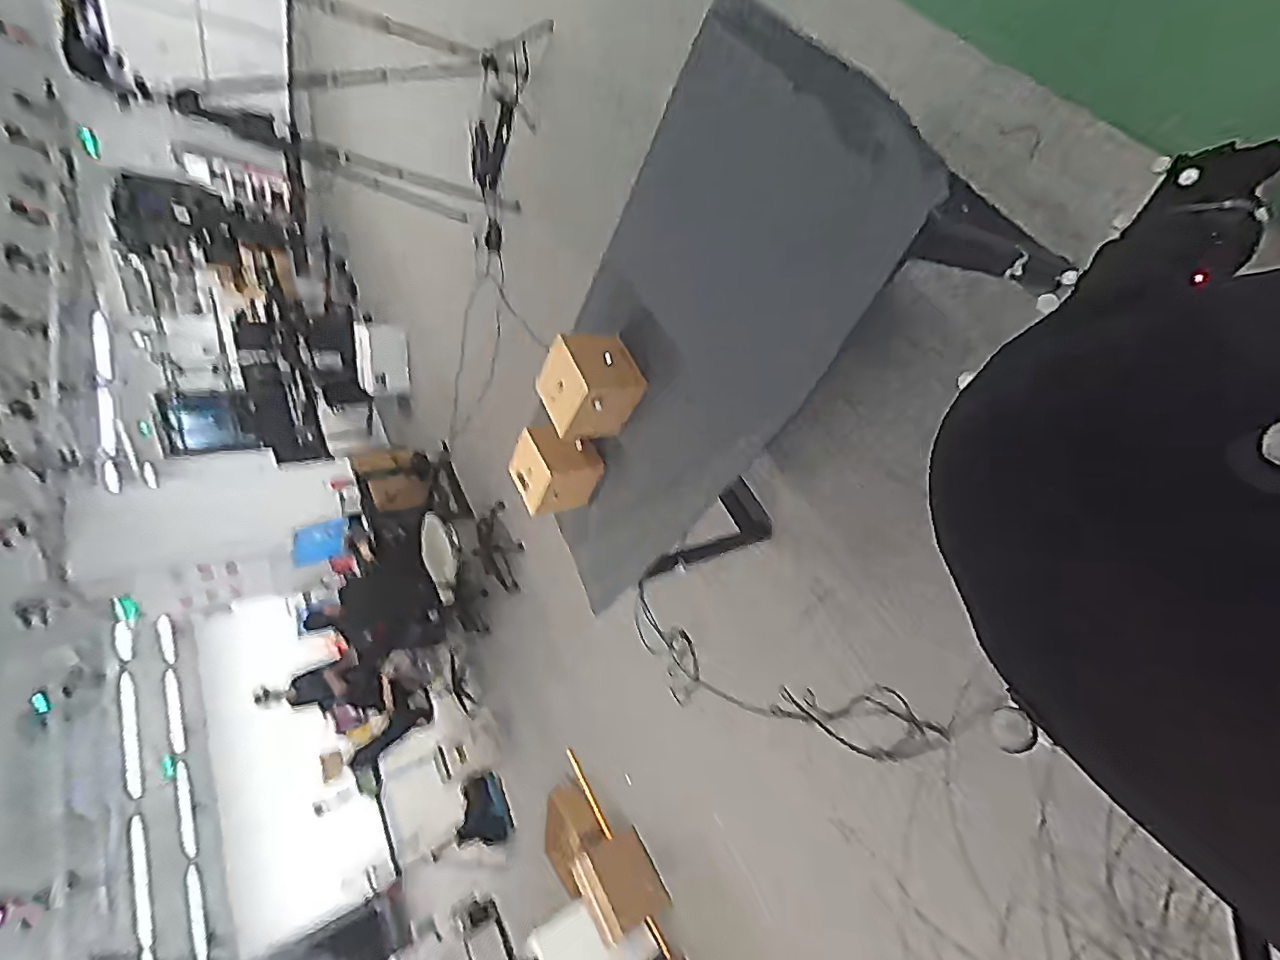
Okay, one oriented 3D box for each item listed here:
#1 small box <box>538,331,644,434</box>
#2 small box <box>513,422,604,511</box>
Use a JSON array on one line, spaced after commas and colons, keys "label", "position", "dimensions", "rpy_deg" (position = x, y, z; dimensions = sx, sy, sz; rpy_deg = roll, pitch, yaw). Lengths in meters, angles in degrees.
[{"label": "small box", "position": [-0.111, -0.230, 1.275], "dimensions": [0.179, 0.176, 0.168], "rpy_deg": [-52, 58, 45]}, {"label": "small box", "position": [-0.220, -0.041, 1.462], "dimensions": [0.168, 0.176, 0.179], "rpy_deg": [57, 137, 26]}]
